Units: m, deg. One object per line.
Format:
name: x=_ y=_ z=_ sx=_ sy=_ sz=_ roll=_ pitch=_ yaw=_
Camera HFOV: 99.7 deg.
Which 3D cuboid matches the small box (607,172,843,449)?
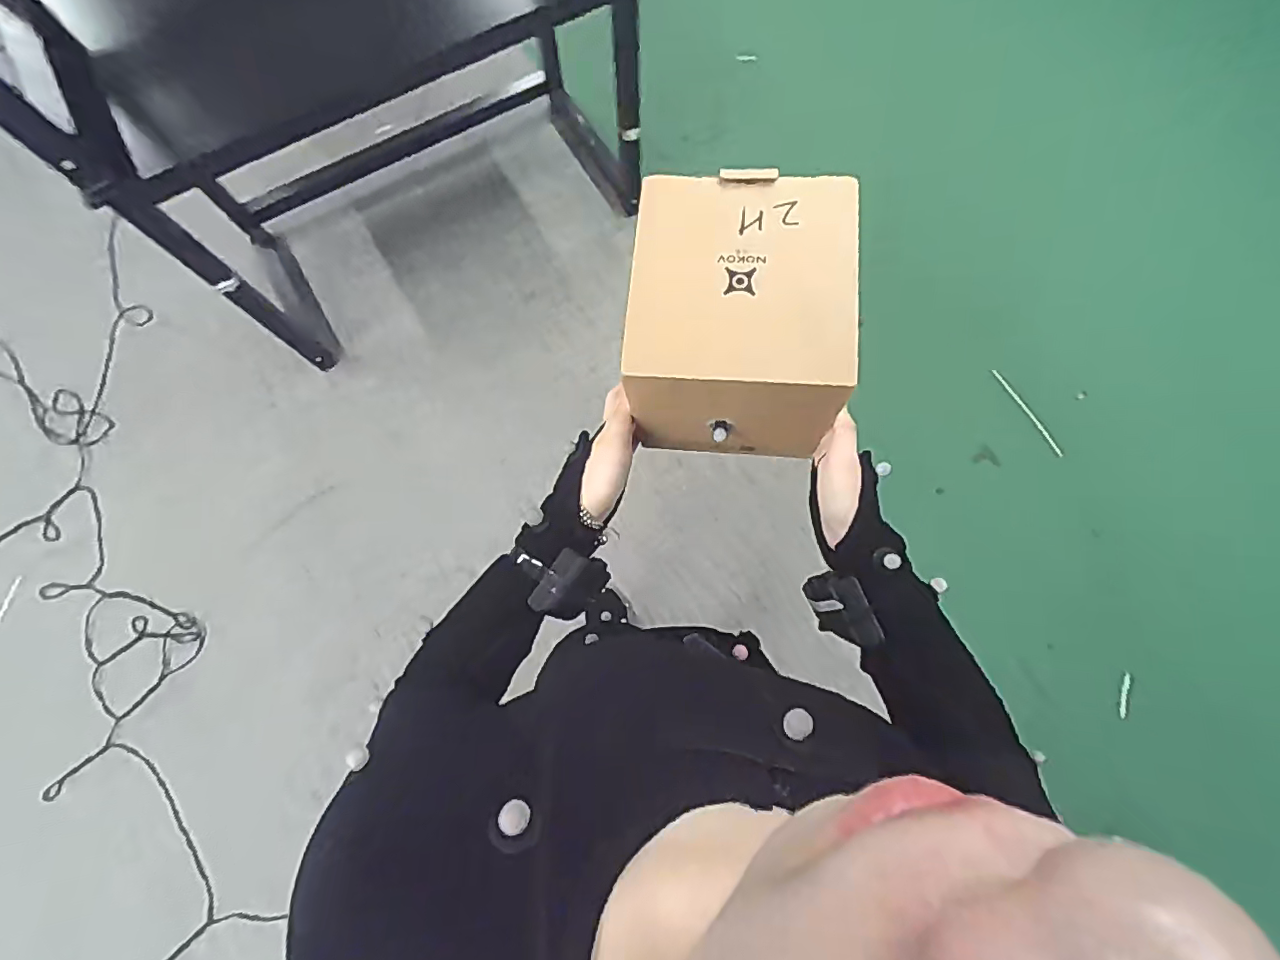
small box: x=0.073 y=-0.135 z=0.476 sx=0.168 sy=0.176 sz=0.179 roll=4 pitch=75 yaw=6
